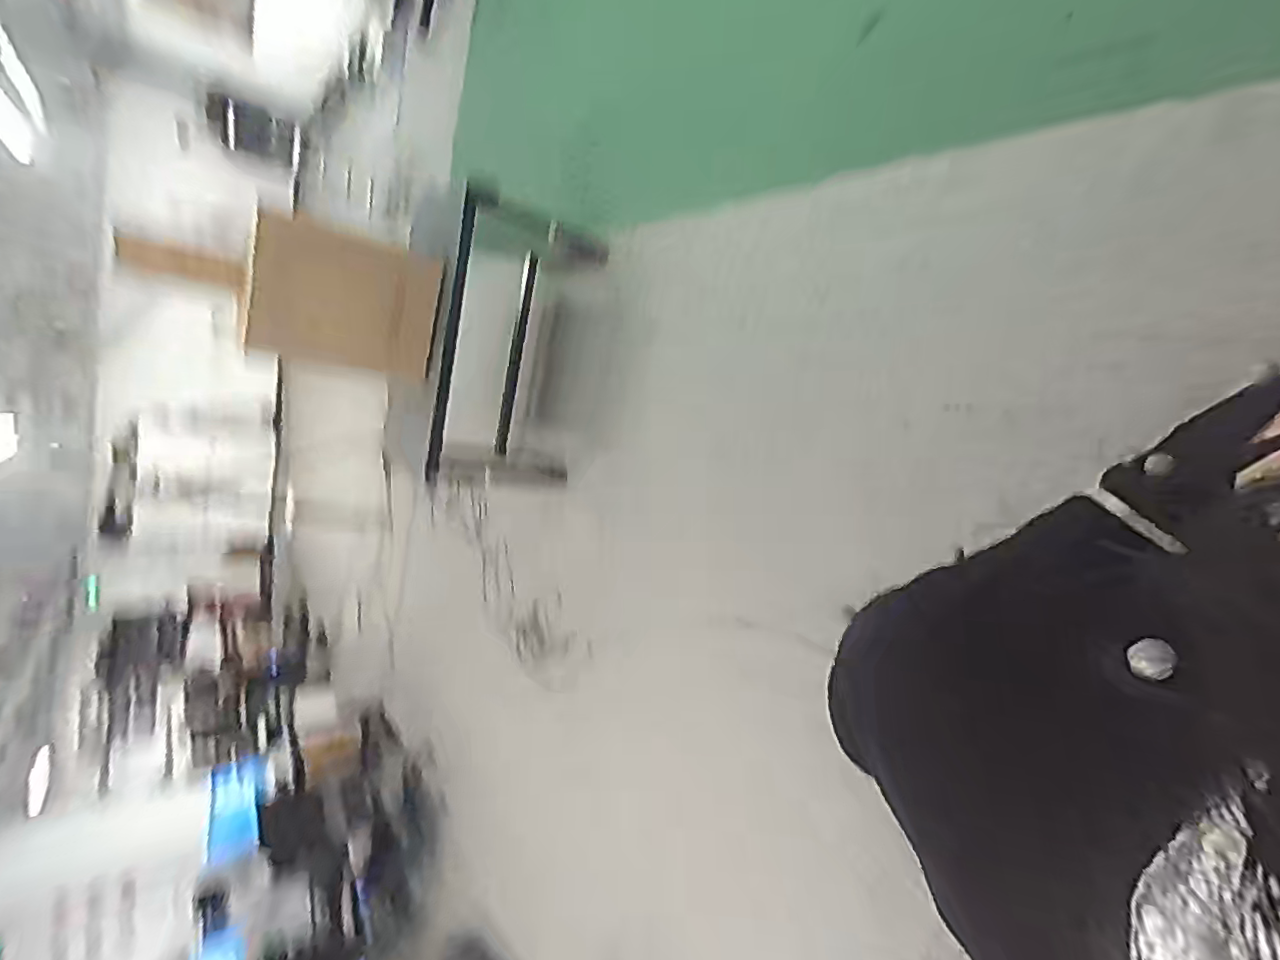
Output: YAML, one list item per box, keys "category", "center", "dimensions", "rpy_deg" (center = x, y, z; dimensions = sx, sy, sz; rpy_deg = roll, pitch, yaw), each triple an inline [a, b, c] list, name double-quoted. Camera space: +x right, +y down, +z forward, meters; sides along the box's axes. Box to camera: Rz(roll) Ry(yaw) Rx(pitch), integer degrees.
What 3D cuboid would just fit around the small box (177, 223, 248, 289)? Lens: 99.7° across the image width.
- category: "small box"
  center: [-1.447, -0.754, 1.827]
  dimensions: [0.179, 0.176, 0.168]
  rpy_deg: [27, 108, 43]
